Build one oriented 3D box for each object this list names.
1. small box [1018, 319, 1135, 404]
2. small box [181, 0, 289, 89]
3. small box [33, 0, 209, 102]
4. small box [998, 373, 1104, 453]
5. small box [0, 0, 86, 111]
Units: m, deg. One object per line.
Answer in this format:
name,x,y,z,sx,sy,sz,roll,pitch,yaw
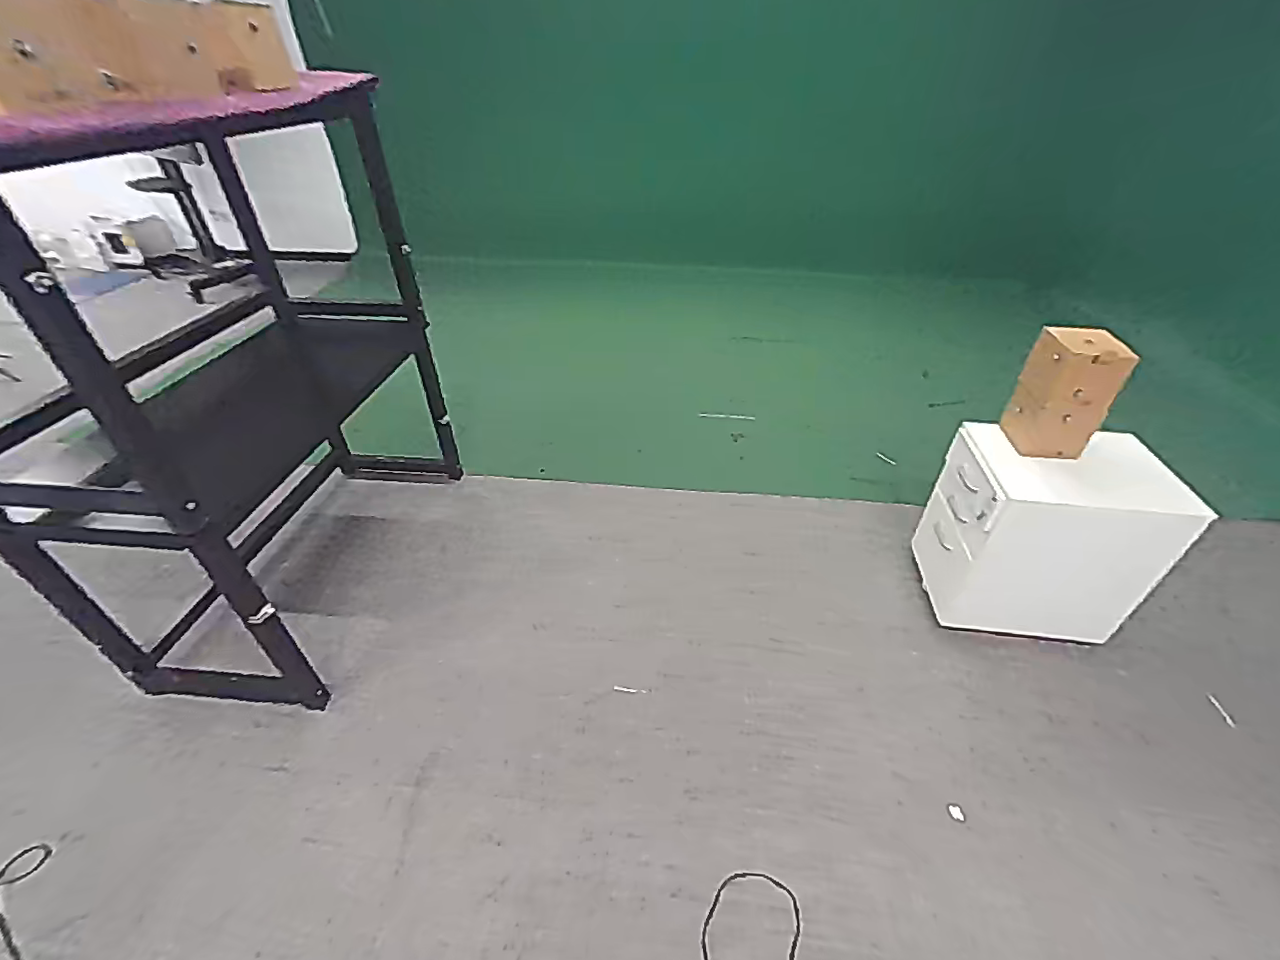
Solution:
small box,1.206,-0.331,1.513,0.168,0.176,0.179,5,41,5
small box,-1.007,-1.065,1.321,0.168,0.176,0.179,2,39,7
small box,-1.010,-0.860,1.071,0.168,0.176,0.179,2,40,3
small box,1.211,-0.202,1.612,0.168,0.176,0.179,4,39,6
small box,-1.009,-0.649,0.801,0.179,0.176,0.168,2,38,2
